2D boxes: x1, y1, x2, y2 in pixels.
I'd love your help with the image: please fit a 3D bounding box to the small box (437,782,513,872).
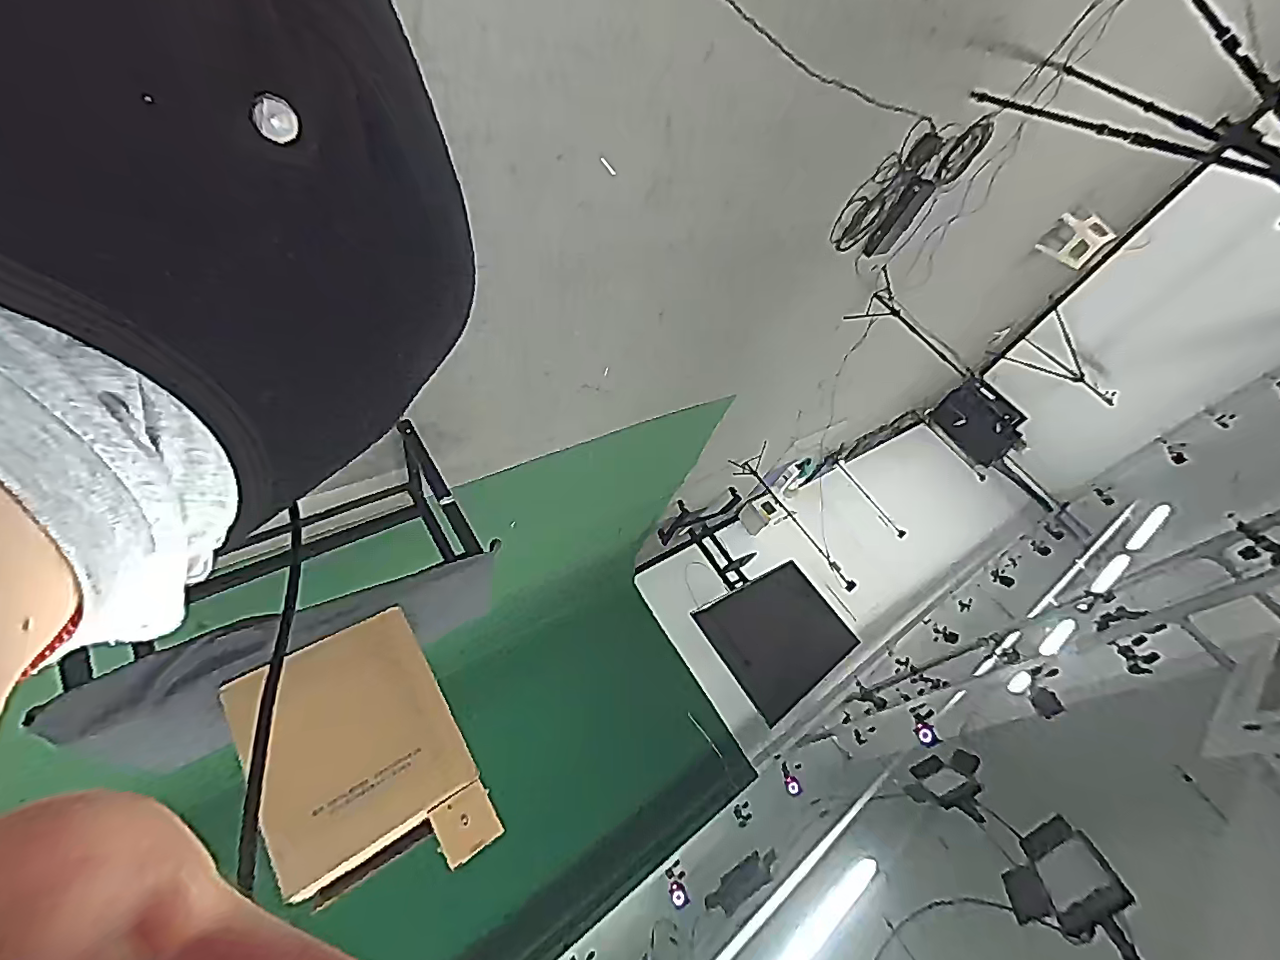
[{"bbox_3d":[-0.507,1.058,1.655,0.168,0.176,0.179,-25,156,-30],"label":"small box"}]
